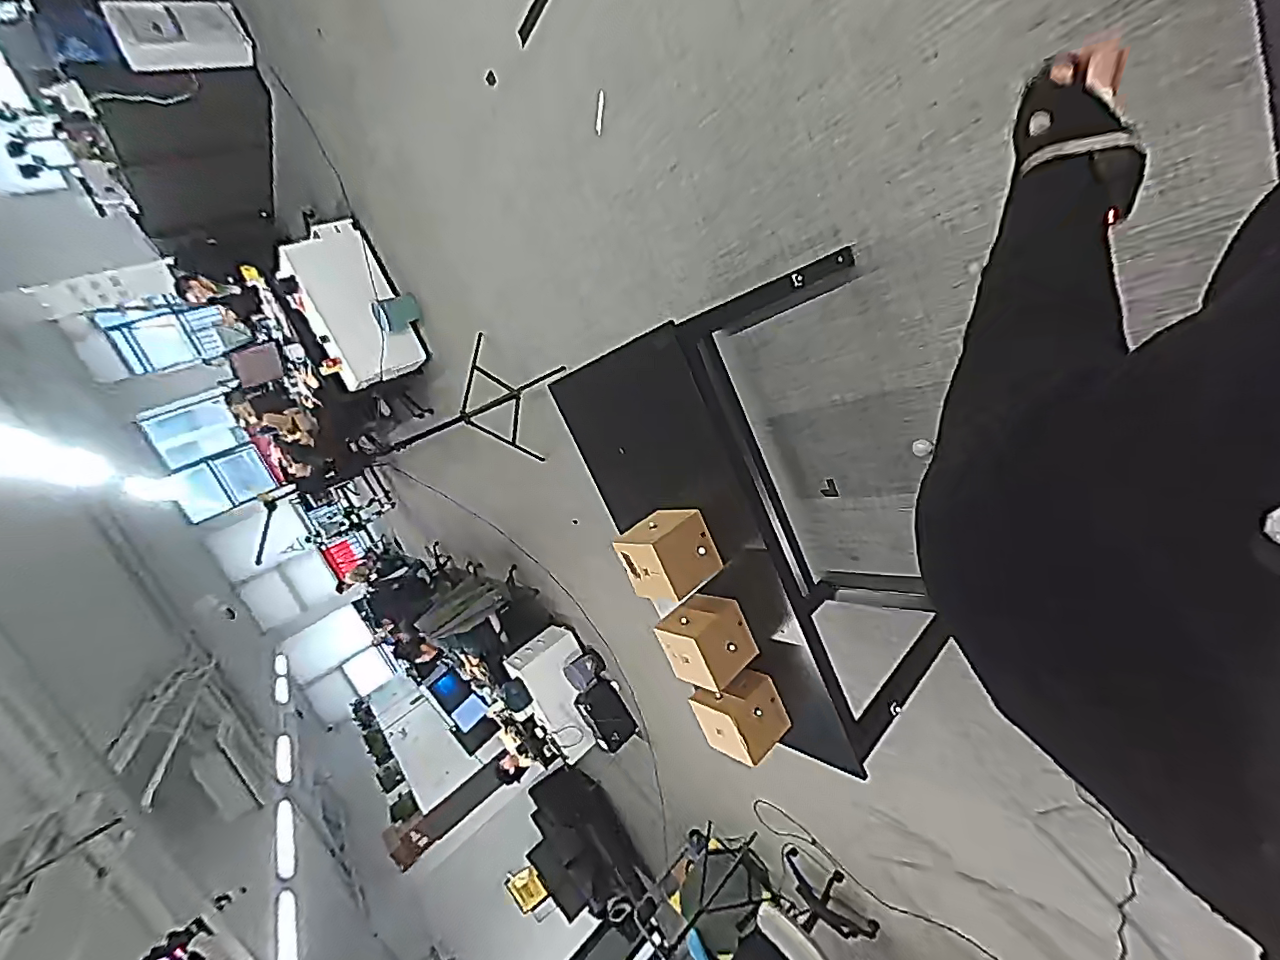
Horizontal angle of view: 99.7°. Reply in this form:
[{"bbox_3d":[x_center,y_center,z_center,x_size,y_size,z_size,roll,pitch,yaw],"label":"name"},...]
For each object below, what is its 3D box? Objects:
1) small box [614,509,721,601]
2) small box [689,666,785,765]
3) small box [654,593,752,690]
[{"bbox_3d":[0.071,0.182,1.367,0.179,0.176,0.168,-6,112,56],"label":"small box"},{"bbox_3d":[0.274,0.629,1.481,0.179,0.176,0.168,-7,110,57],"label":"small box"},{"bbox_3d":[0.174,0.418,1.430,0.179,0.176,0.168,-6,112,56],"label":"small box"}]
